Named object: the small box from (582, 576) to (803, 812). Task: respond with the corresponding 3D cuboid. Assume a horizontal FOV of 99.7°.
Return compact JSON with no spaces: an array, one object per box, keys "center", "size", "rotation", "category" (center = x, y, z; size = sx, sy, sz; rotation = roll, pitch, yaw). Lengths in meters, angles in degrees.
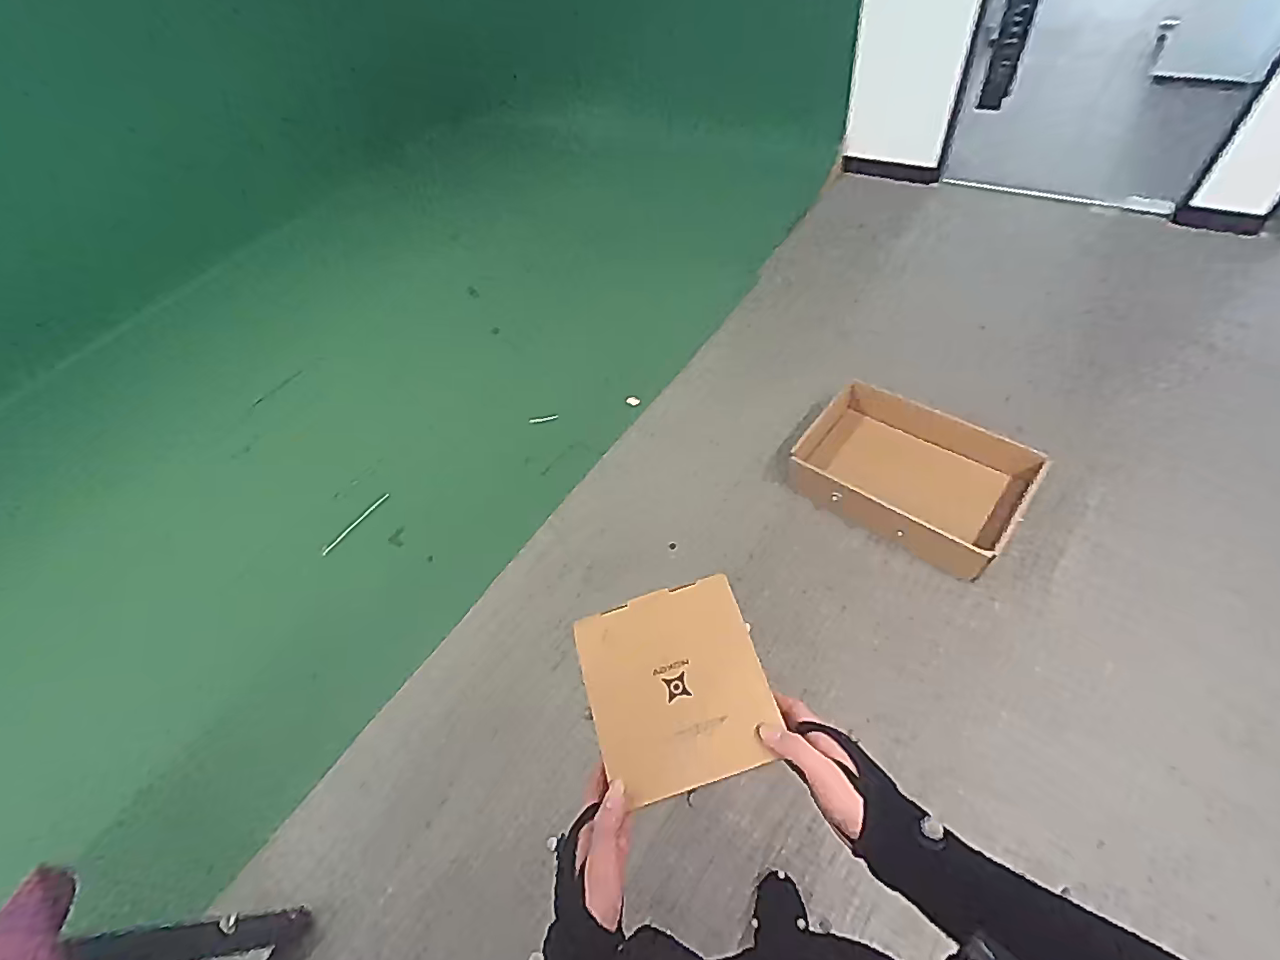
[{"center":[0.048,0.228,0.567],"size":[0.168,0.176,0.179],"rotation":[-17,60,-2],"category":"small box"}]
